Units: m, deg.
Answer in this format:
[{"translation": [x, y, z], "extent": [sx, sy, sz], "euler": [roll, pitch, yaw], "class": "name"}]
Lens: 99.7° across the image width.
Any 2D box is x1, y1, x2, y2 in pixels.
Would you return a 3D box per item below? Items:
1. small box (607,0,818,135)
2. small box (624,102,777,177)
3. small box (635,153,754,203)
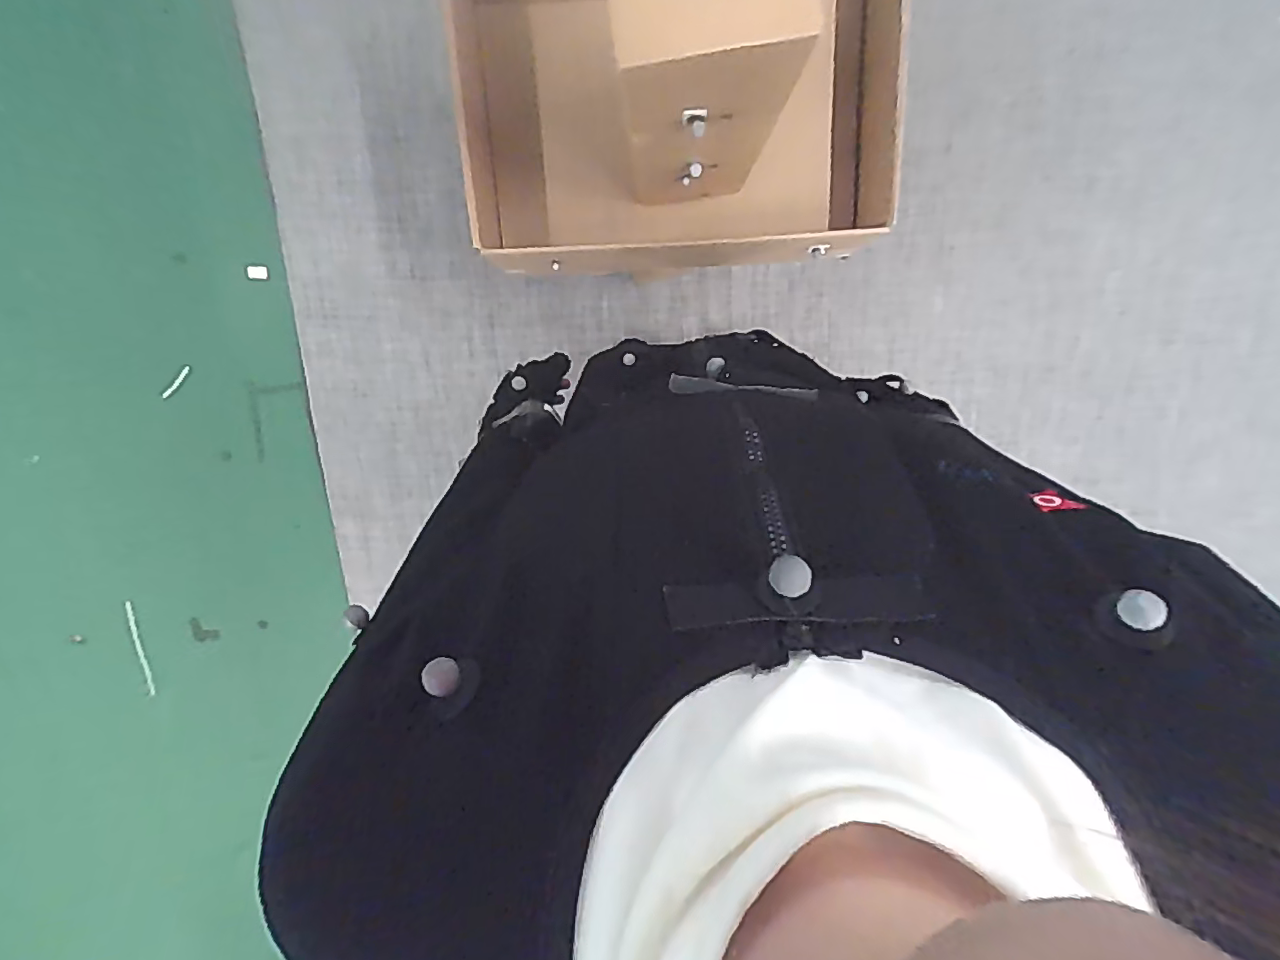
[{"translation": [0.054, -0.446, 0.486], "extent": [0.168, 0.176, 0.179], "euler": [-6, 105, 5], "class": "small box"}, {"translation": [0.060, -0.488, 0.642], "extent": [0.168, 0.176, 0.179], "euler": [-6, 105, 4], "class": "small box"}, {"translation": [0.069, -0.534, 0.799], "extent": [0.168, 0.176, 0.179], "euler": [-6, 104, 6], "class": "small box"}]
